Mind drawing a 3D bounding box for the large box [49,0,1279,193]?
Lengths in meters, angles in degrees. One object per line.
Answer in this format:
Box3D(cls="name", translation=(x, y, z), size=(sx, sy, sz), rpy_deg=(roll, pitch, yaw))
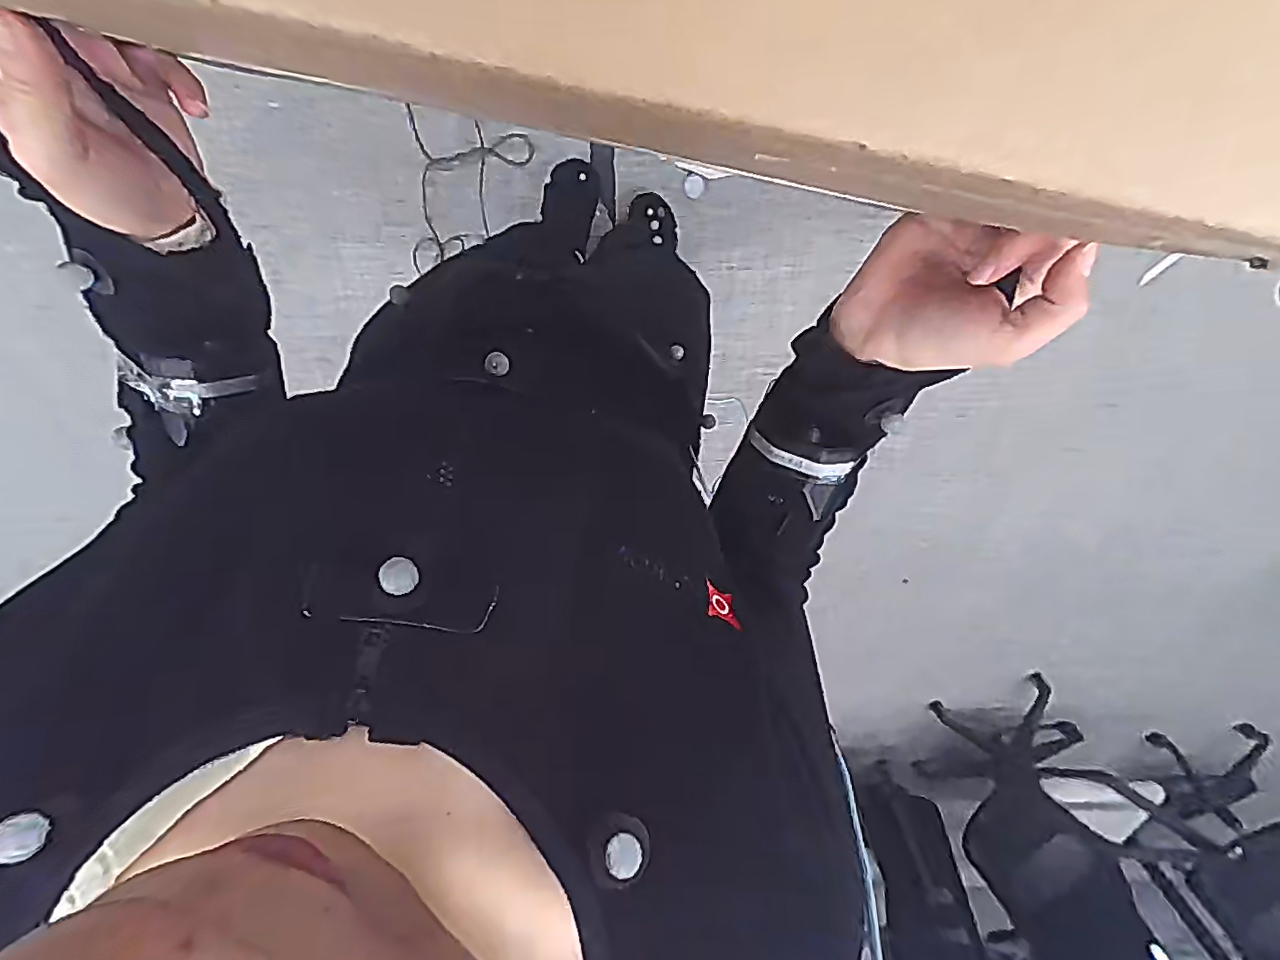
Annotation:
Box3D(cls="large box", translation=(-0.008, -0.292, 0.148), size=(0.408, 0.320, 0.320), rpy_deg=(7, 121, -5))
